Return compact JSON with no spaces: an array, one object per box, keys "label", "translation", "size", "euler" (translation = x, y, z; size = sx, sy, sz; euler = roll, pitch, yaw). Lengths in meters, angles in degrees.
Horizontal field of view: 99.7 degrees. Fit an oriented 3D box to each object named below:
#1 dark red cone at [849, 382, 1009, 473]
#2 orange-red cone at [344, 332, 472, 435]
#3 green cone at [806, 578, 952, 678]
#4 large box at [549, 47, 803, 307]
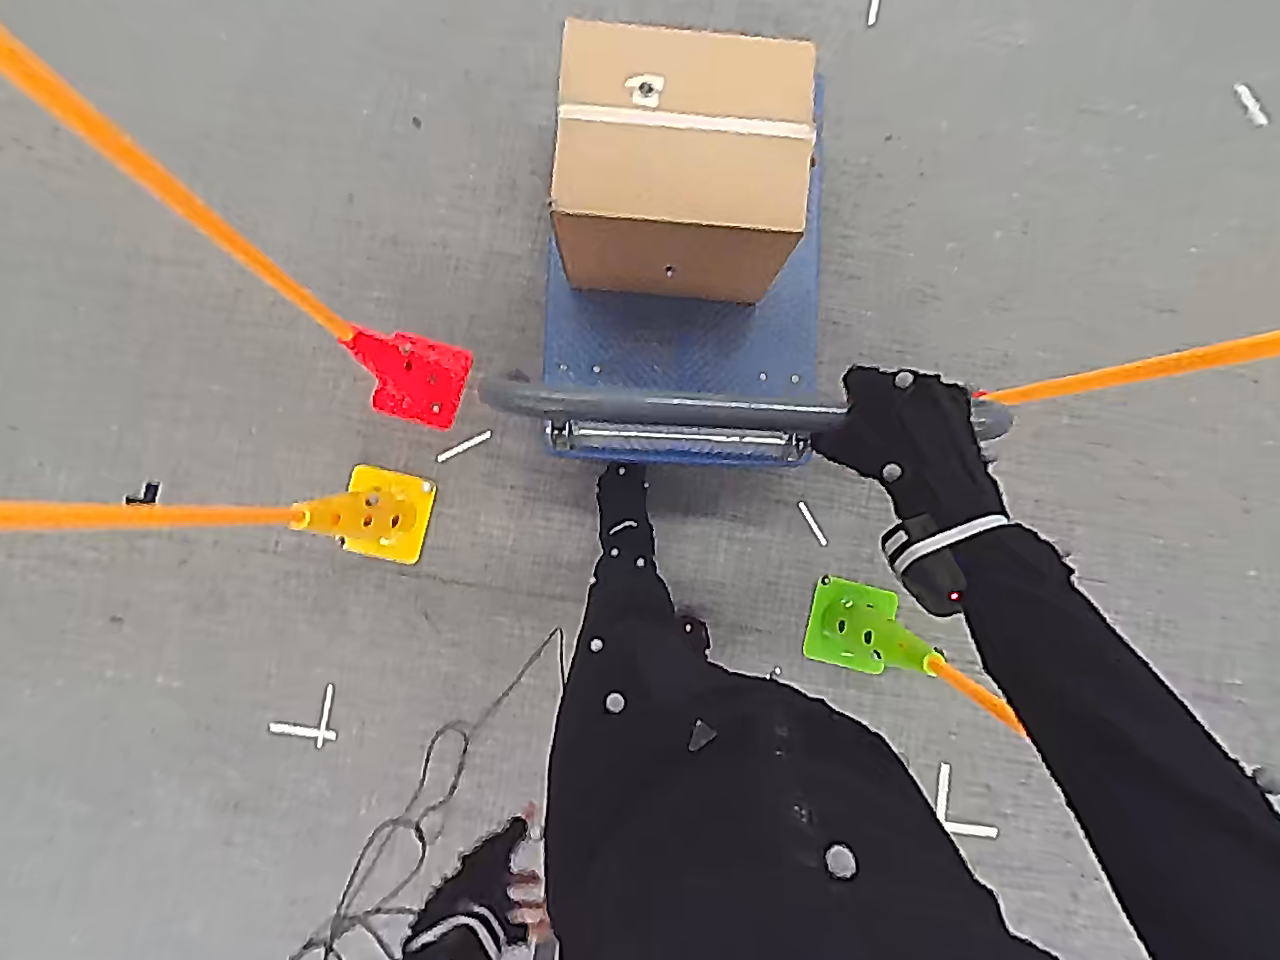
[{"label":"dark red cone","translation":[0.613,-0.136,1.133],"size":[0.201,0.394,0.202],"euler":[10,87,-3]},{"label":"orange-red cone","translation":[-0.517,-0.236,1.135],"size":[0.198,0.360,0.199],"euler":[17,85,-1]},{"label":"green cone","translation":[0.512,0.338,1.119],"size":[0.202,0.368,0.200],"euler":[13,86,-2]},{"label":"large box","translation":[0.061,-0.534,1.019],"size":[0.408,0.320,0.320],"euler":[4,87,0]}]
